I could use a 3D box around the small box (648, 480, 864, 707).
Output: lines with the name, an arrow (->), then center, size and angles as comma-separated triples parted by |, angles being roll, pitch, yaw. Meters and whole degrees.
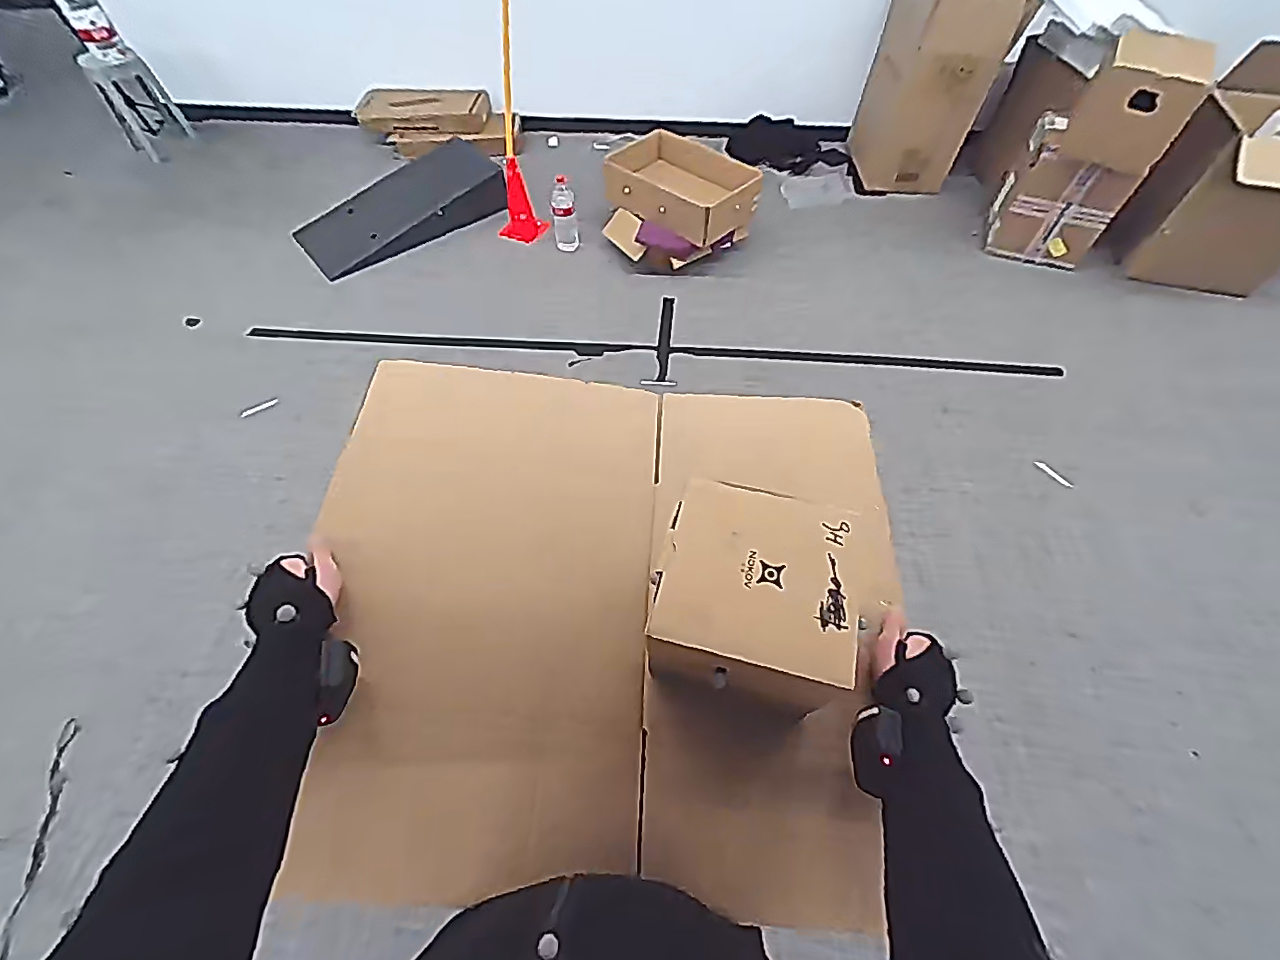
small box -> 0.115, 0.124, 0.564 | 0.179, 0.176, 0.168 | 11, 61, 10
